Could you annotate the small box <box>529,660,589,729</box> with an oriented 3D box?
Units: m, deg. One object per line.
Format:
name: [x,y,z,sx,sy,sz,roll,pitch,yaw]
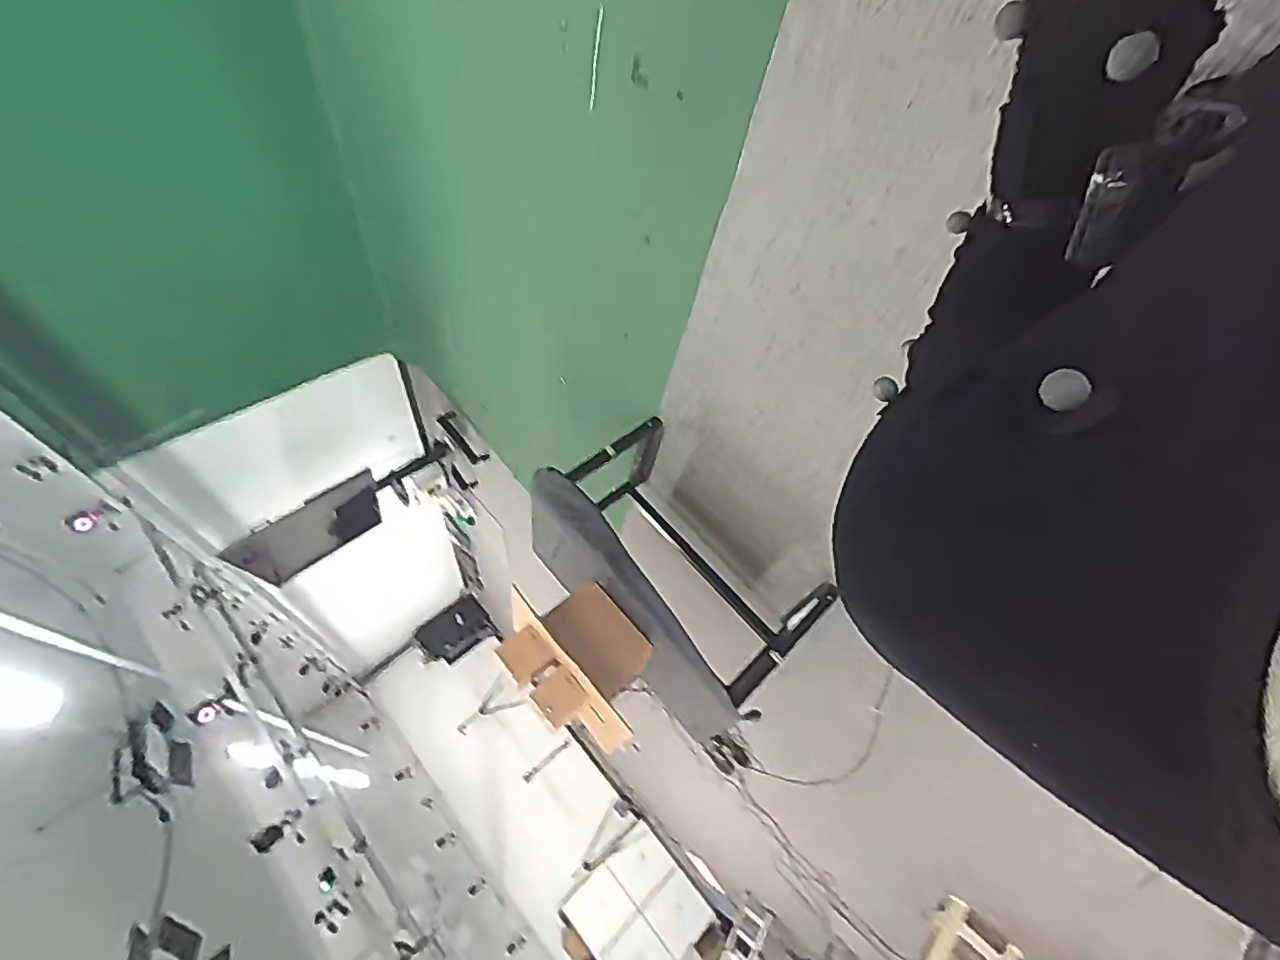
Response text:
small box: [-0.311,0.824,2.082,0.168,0.176,0.179,44,151,16]
